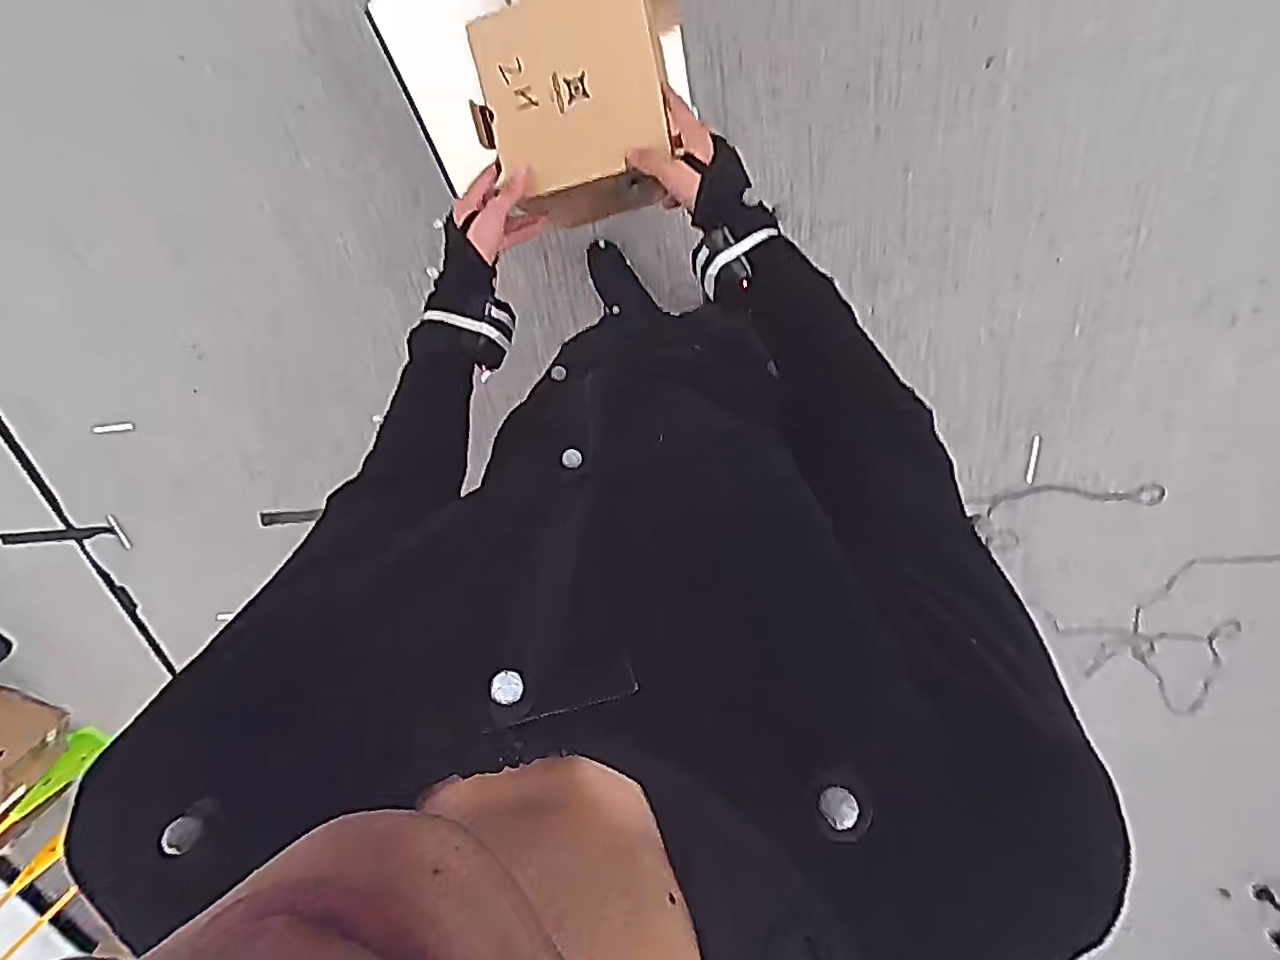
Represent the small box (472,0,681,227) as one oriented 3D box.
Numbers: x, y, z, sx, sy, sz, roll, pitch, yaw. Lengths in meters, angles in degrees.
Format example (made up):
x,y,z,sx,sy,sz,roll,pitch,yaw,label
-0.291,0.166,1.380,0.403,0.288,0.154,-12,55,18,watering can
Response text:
x,y,z,sx,sy,sz,roll,pitch,yaw,label
-0.053,-0.400,0.606,0.179,0.176,0.168,-9,105,13,small box
